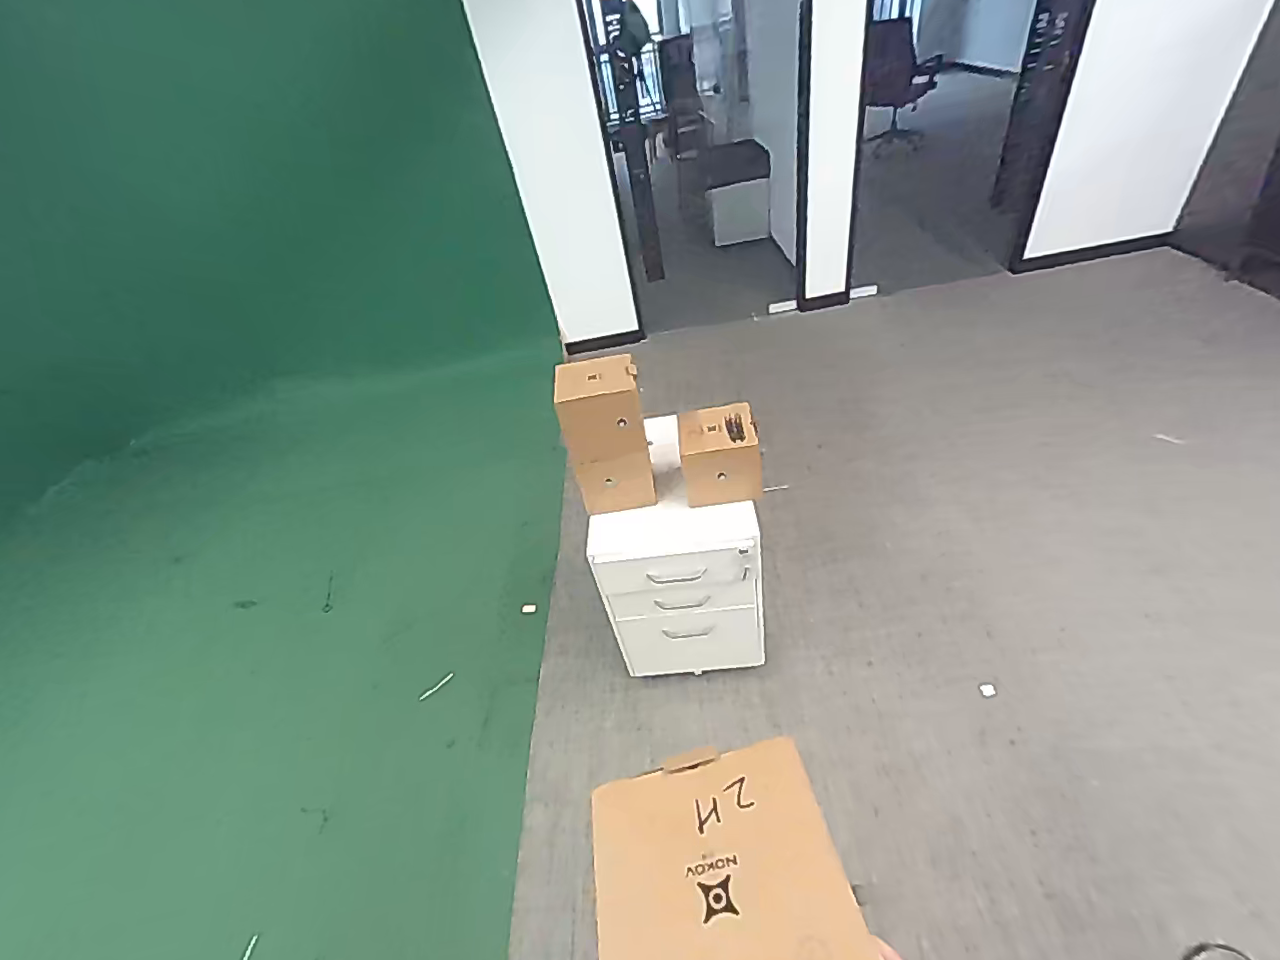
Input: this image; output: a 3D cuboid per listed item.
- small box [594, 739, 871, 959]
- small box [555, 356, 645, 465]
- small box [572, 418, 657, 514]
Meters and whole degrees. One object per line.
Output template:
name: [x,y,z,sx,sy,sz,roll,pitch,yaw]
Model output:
small box: [0.070,0.336,0.402,0.168,0.176,0.179,-15,31,1]
small box: [-0.087,-0.156,1.226,0.179,0.176,0.168,-10,40,2]
small box: [-0.061,-0.033,1.330,0.179,0.176,0.168,-10,41,3]
